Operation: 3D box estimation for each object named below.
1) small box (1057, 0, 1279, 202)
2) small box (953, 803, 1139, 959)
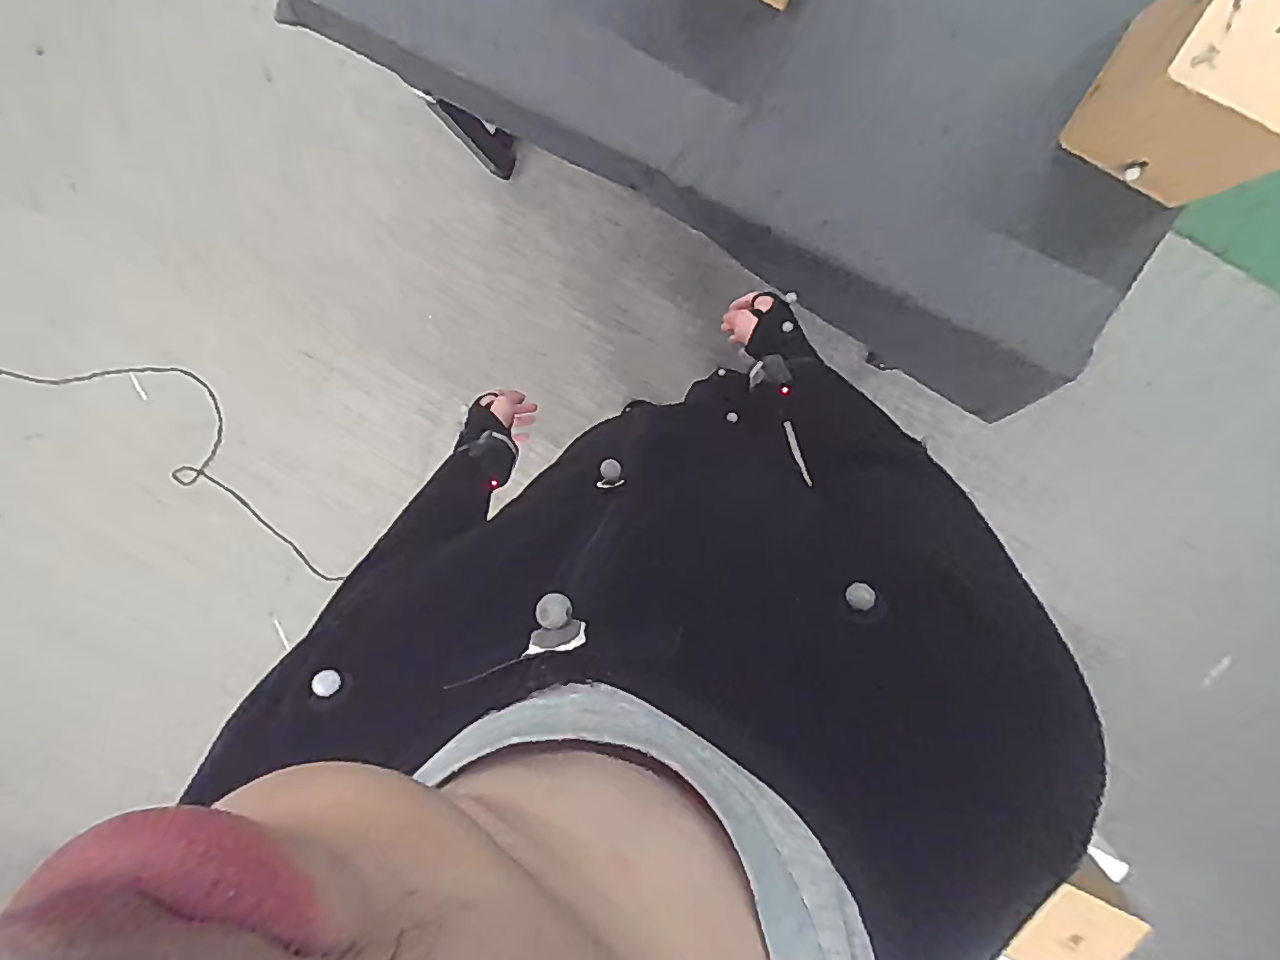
[{"bbox_3d":[0.641,-0.444,0.609,0.179,0.176,0.168,28,101,-2],"label":"small box"},{"bbox_3d":[0.696,0.728,0.958,0.168,0.176,0.179,26,101,-3],"label":"small box"}]
